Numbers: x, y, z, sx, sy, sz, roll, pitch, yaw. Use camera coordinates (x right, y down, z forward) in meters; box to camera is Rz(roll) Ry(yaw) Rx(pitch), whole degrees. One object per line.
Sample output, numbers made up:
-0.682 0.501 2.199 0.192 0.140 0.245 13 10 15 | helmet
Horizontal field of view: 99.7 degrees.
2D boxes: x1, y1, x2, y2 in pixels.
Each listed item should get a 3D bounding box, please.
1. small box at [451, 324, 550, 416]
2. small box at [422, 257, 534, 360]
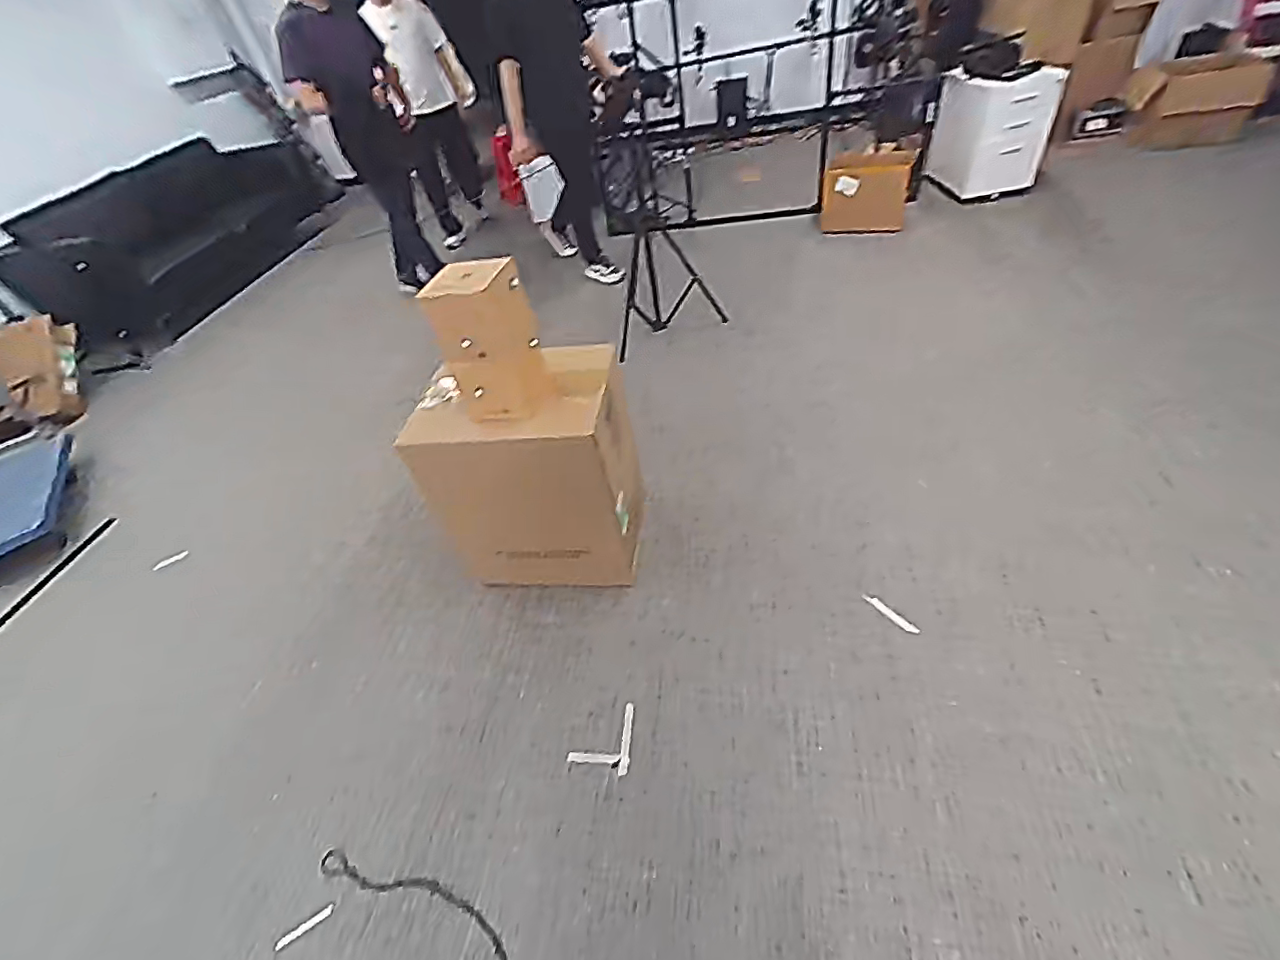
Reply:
-0.339 -0.272 1.357 0.168 0.176 0.179 0 44 13 | small box
-0.361 -0.395 1.249 0.168 0.176 0.179 1 44 15 | small box
